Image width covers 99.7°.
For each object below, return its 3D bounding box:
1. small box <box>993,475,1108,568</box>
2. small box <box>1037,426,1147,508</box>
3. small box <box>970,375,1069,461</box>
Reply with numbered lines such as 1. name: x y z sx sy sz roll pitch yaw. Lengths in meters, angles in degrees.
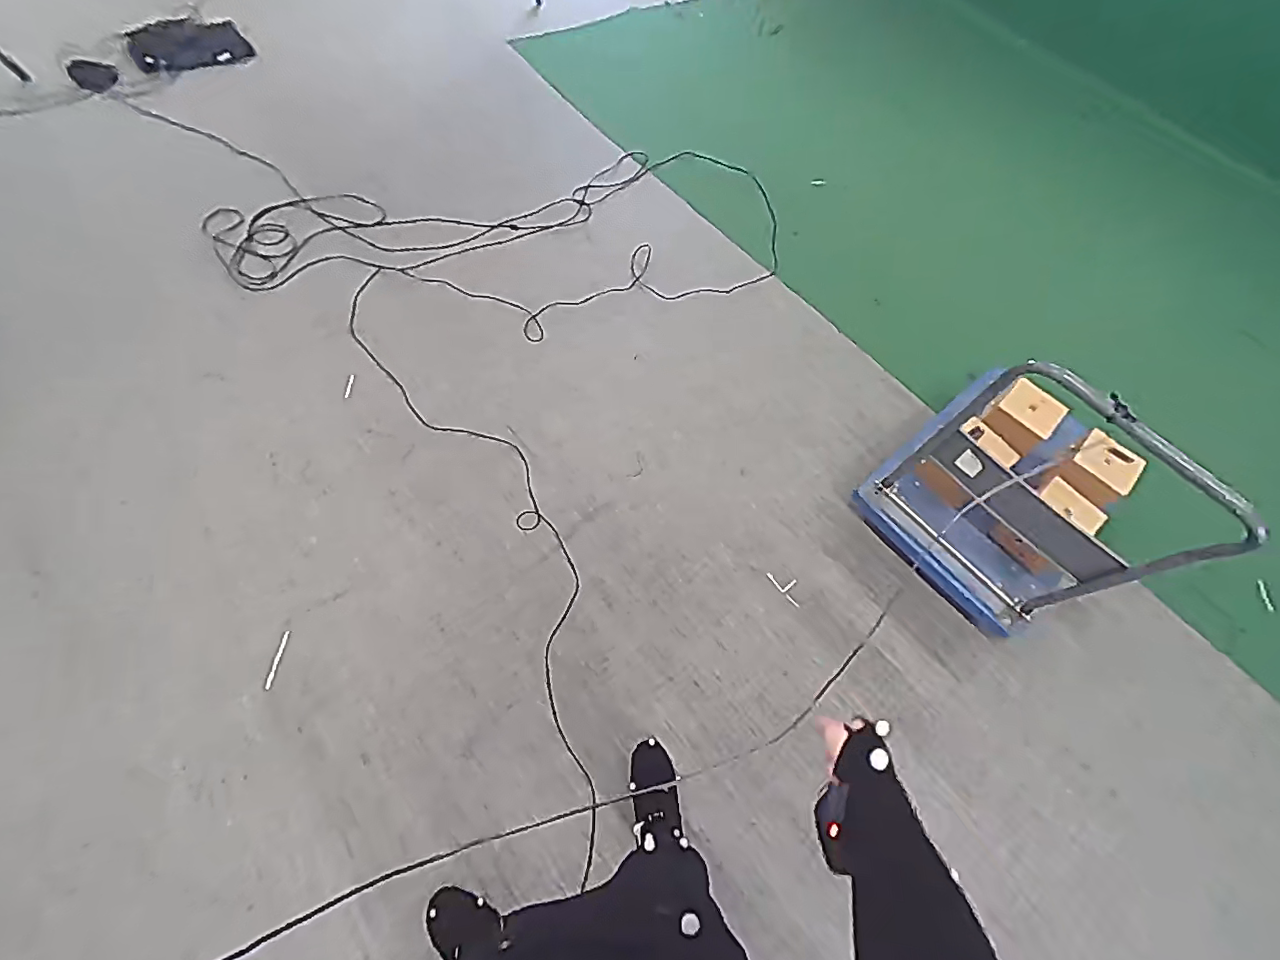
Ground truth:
1. small box: 1.165 0.121 1.549 0.179 0.176 0.168 -35 71 -21
2. small box: 1.369 -0.025 1.649 0.179 0.176 0.168 -40 72 -22
3. small box: 1.193 -0.191 1.717 0.179 0.176 0.168 -39 73 -23
